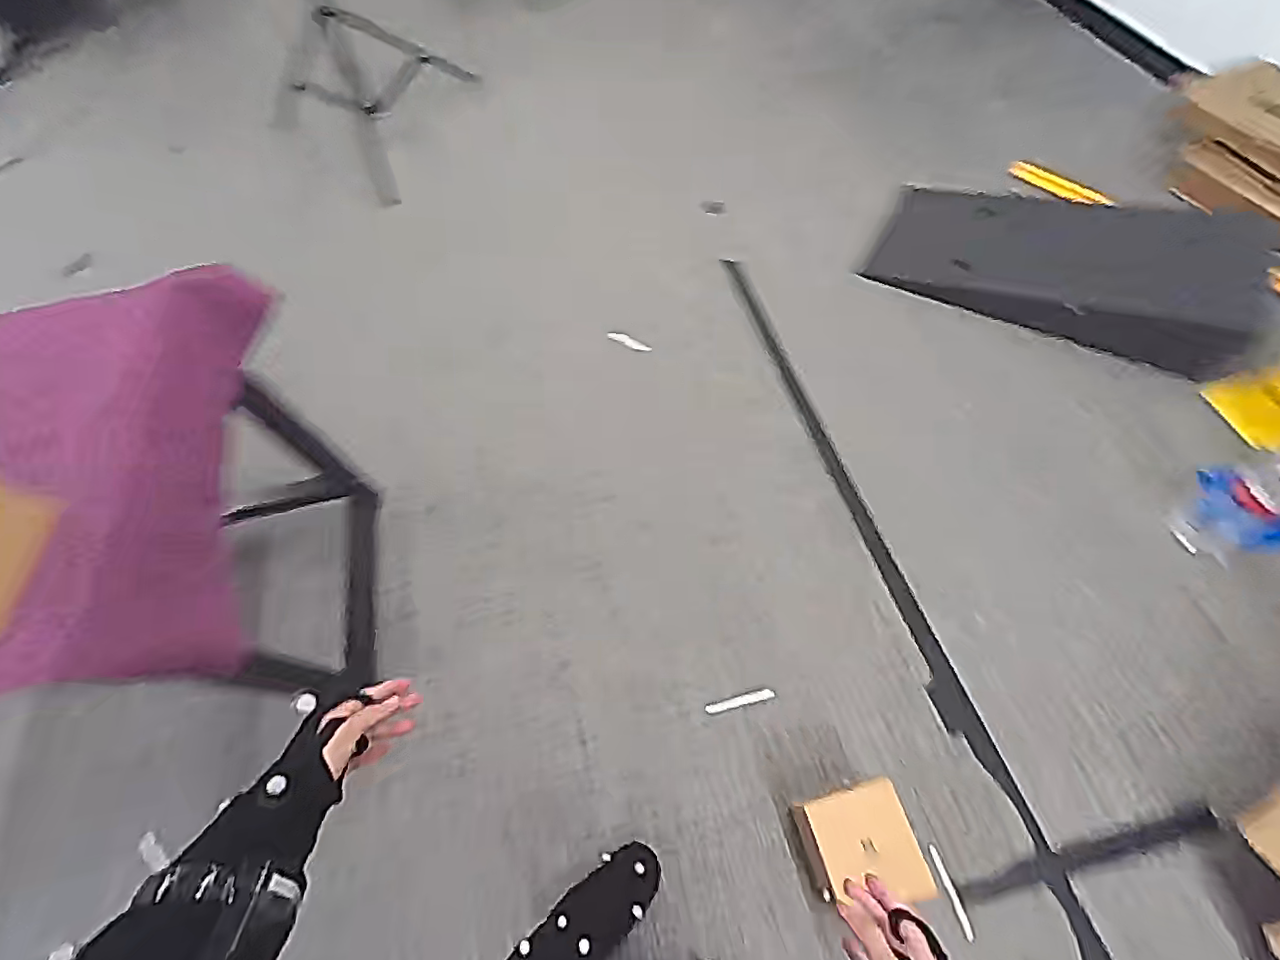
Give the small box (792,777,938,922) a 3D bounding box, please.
[{"bbox_3d":[0.396,0.663,0.992,0.168,0.176,0.179,-15,63,-3],"label":"small box"}]
